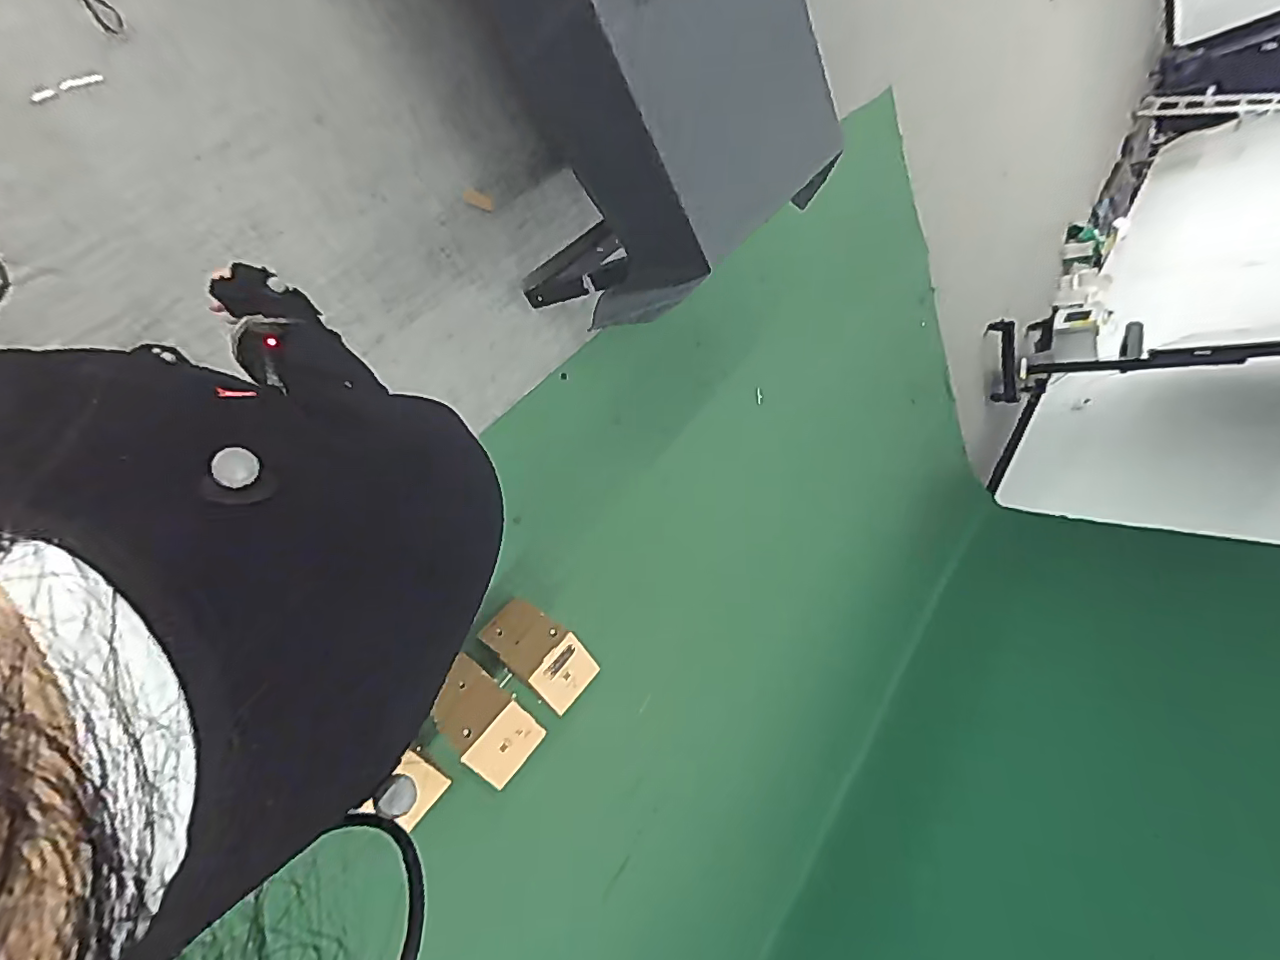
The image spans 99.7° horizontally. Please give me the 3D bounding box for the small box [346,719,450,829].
[{"bbox_3d":[-0.652,0.781,1.454,0.168,0.176,0.179,-47,123,-24],"label":"small box"}]
